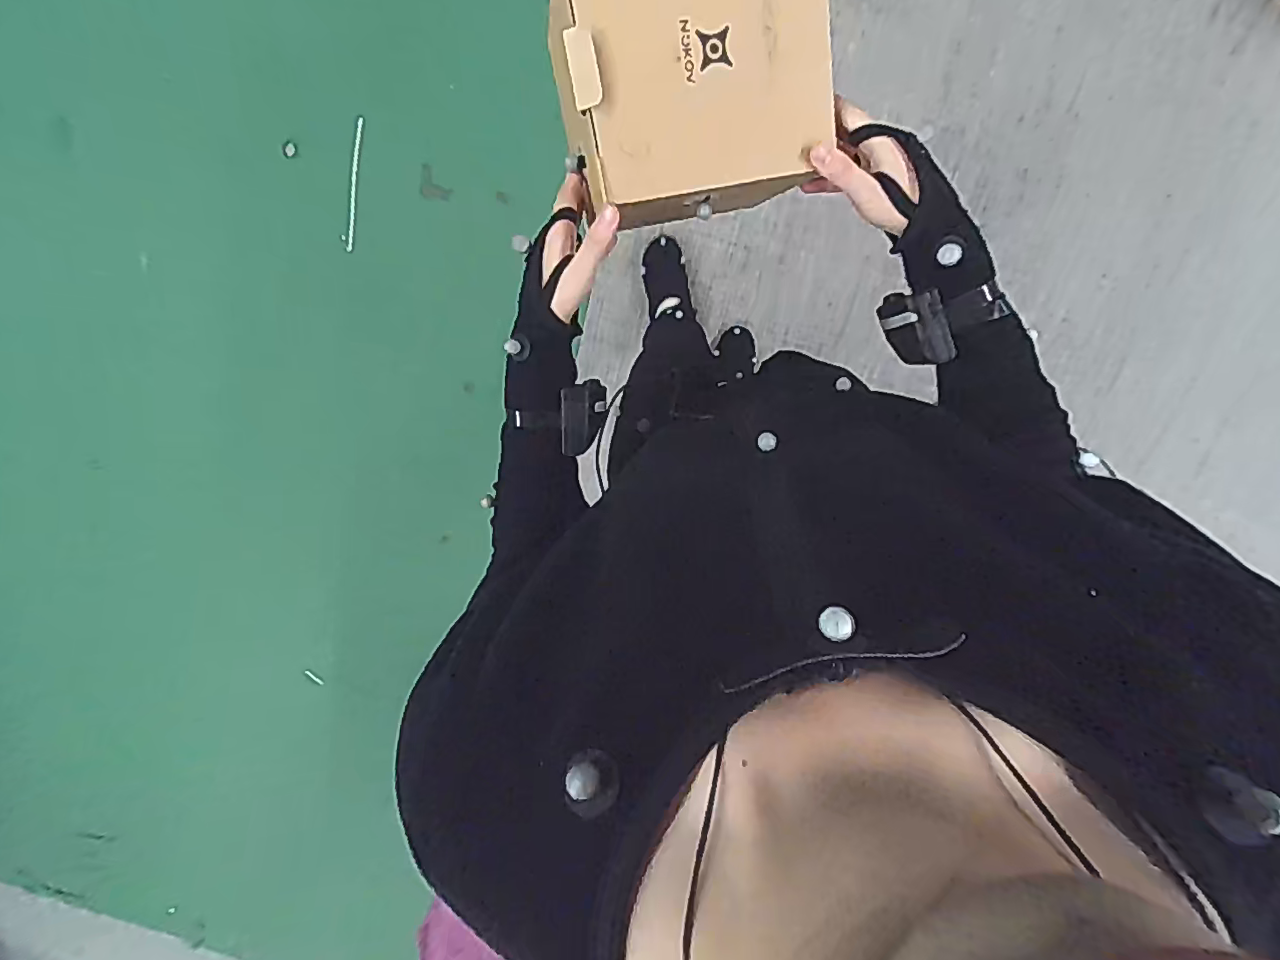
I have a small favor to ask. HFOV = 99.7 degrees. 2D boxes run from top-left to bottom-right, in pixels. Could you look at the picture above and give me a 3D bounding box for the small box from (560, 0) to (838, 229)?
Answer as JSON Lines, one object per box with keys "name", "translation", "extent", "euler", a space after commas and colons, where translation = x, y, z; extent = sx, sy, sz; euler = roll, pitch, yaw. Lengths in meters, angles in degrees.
{"name": "small box", "translation": [0.034, -0.310, 0.433], "extent": [0.179, 0.176, 0.168], "euler": [-12, 109, -6]}
